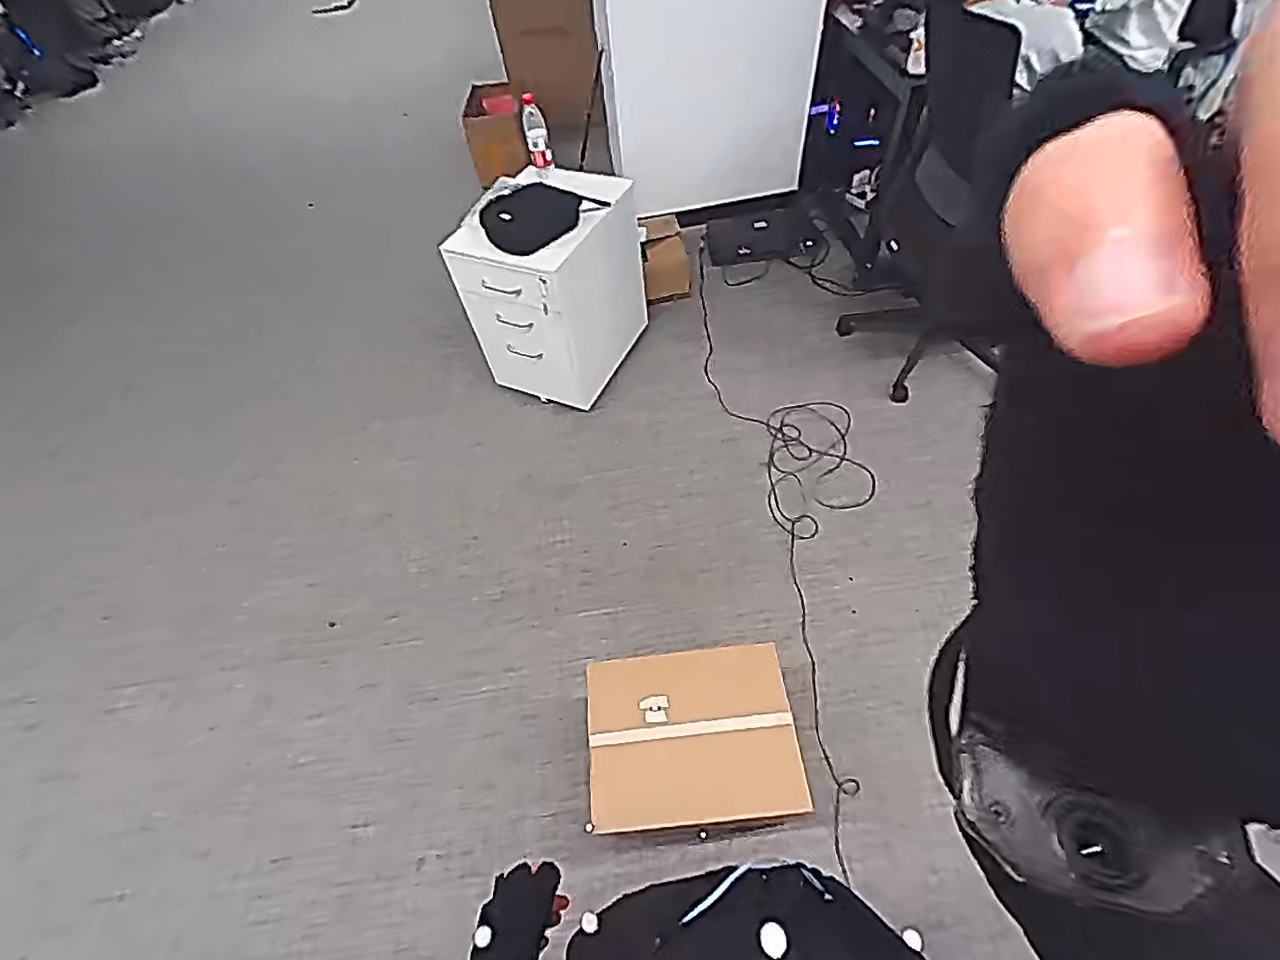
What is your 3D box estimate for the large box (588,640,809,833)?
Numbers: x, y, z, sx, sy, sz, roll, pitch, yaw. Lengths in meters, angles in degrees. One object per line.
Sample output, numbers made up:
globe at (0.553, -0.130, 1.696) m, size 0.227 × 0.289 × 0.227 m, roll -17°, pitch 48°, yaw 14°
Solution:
large box at (0.115, 0.575, 1.194) m, size 0.408 × 0.320 × 0.320 m, roll -7°, pitch 54°, yaw 2°
